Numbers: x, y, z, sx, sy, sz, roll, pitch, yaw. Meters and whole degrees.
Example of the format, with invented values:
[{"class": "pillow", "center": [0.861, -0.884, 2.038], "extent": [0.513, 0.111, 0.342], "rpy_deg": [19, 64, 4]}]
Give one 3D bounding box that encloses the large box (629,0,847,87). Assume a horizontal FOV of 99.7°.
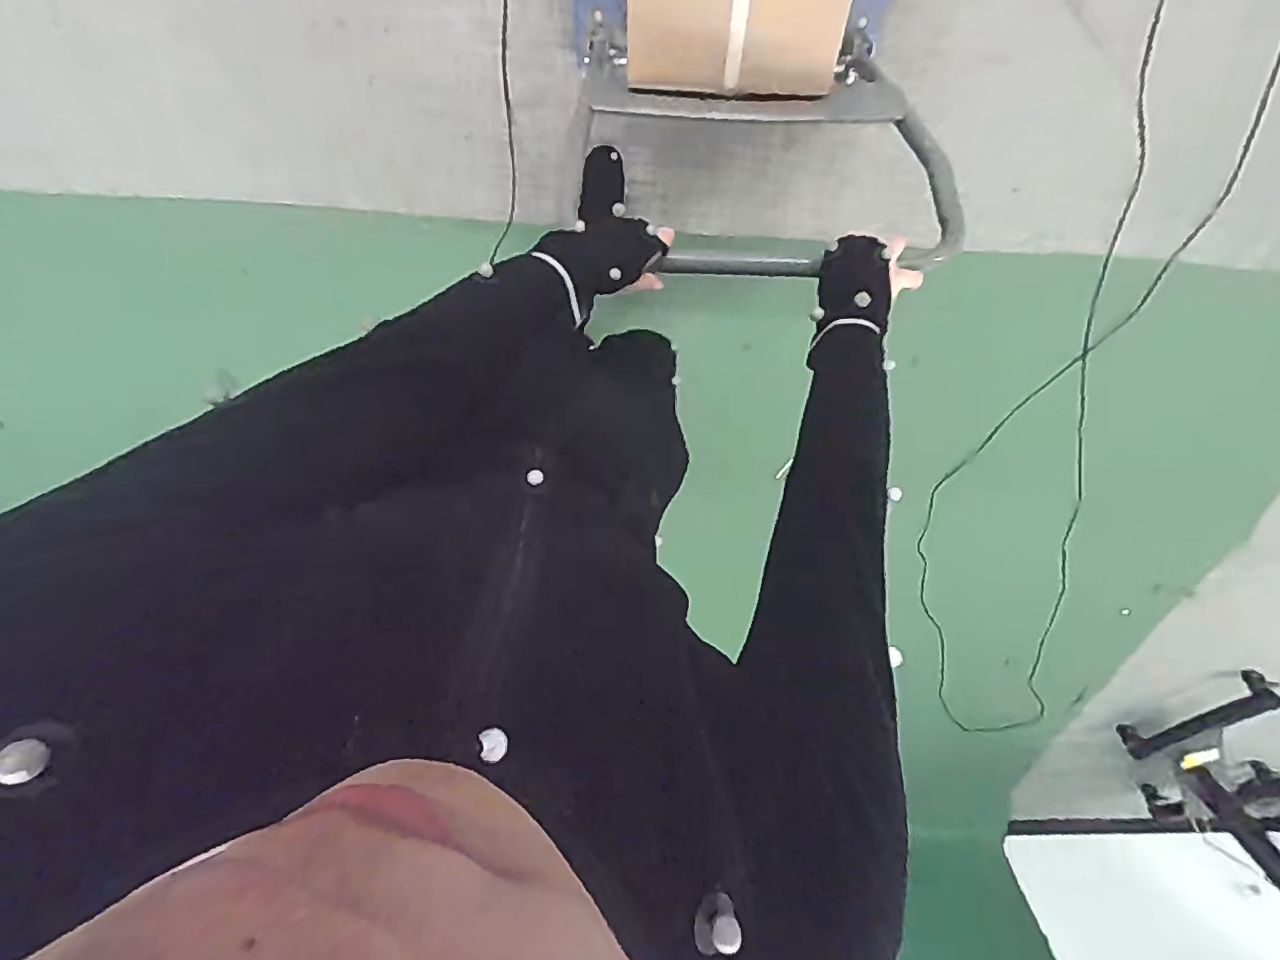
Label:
[{"class": "large box", "center": [0.147, -0.858, 0.800], "extent": [0.320, 0.320, 0.408], "rpy_deg": [2, 137, 0]}]
